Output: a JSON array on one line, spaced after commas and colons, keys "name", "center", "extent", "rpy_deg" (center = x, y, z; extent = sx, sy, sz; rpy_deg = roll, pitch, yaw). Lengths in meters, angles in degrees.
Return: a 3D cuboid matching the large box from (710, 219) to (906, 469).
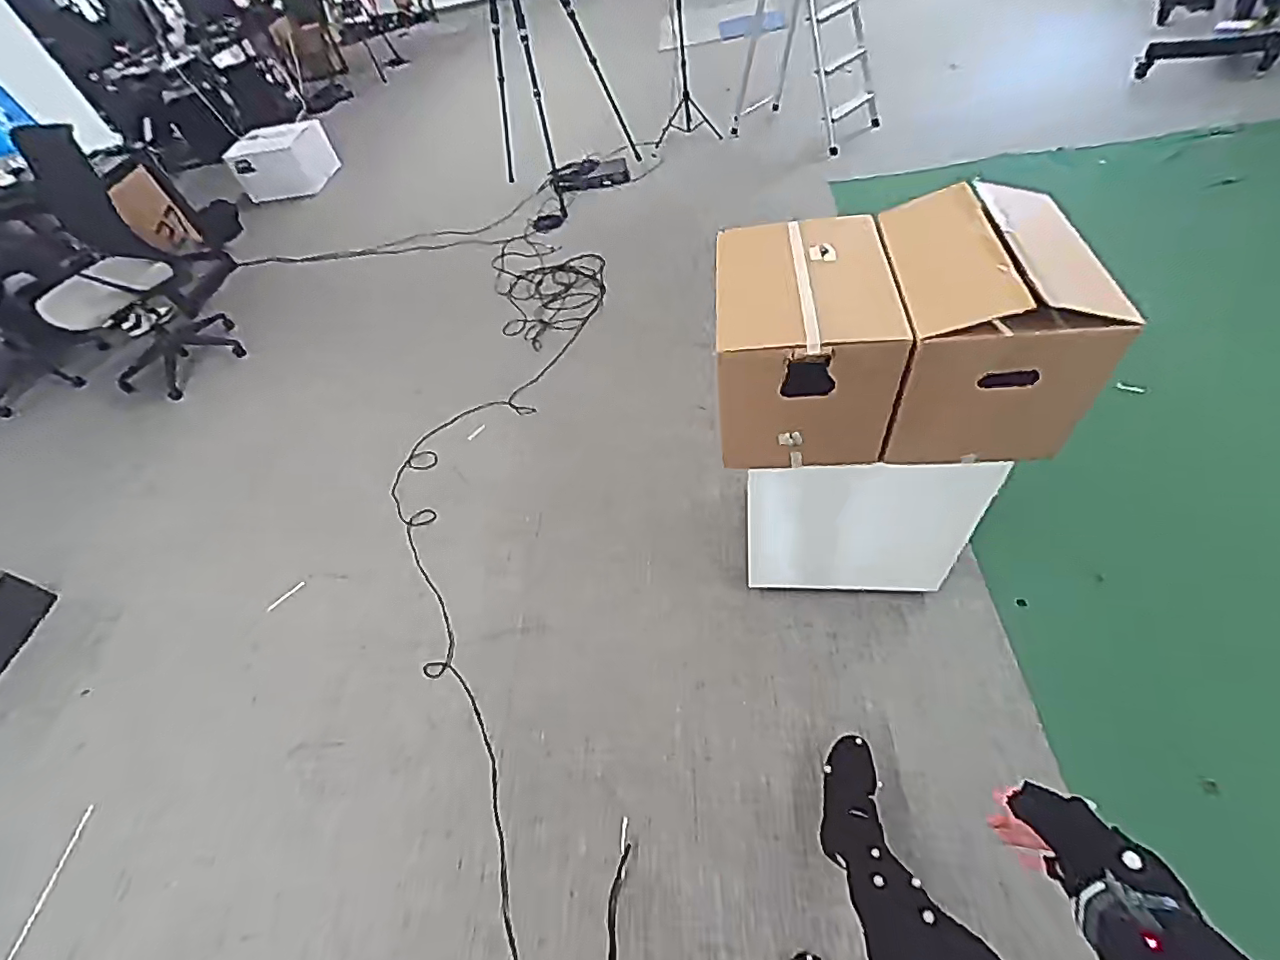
[{"name": "large box", "center": [0.314, -0.275, 1.115], "extent": [0.320, 0.320, 0.408], "rpy_deg": [-2, 51, 10]}]
